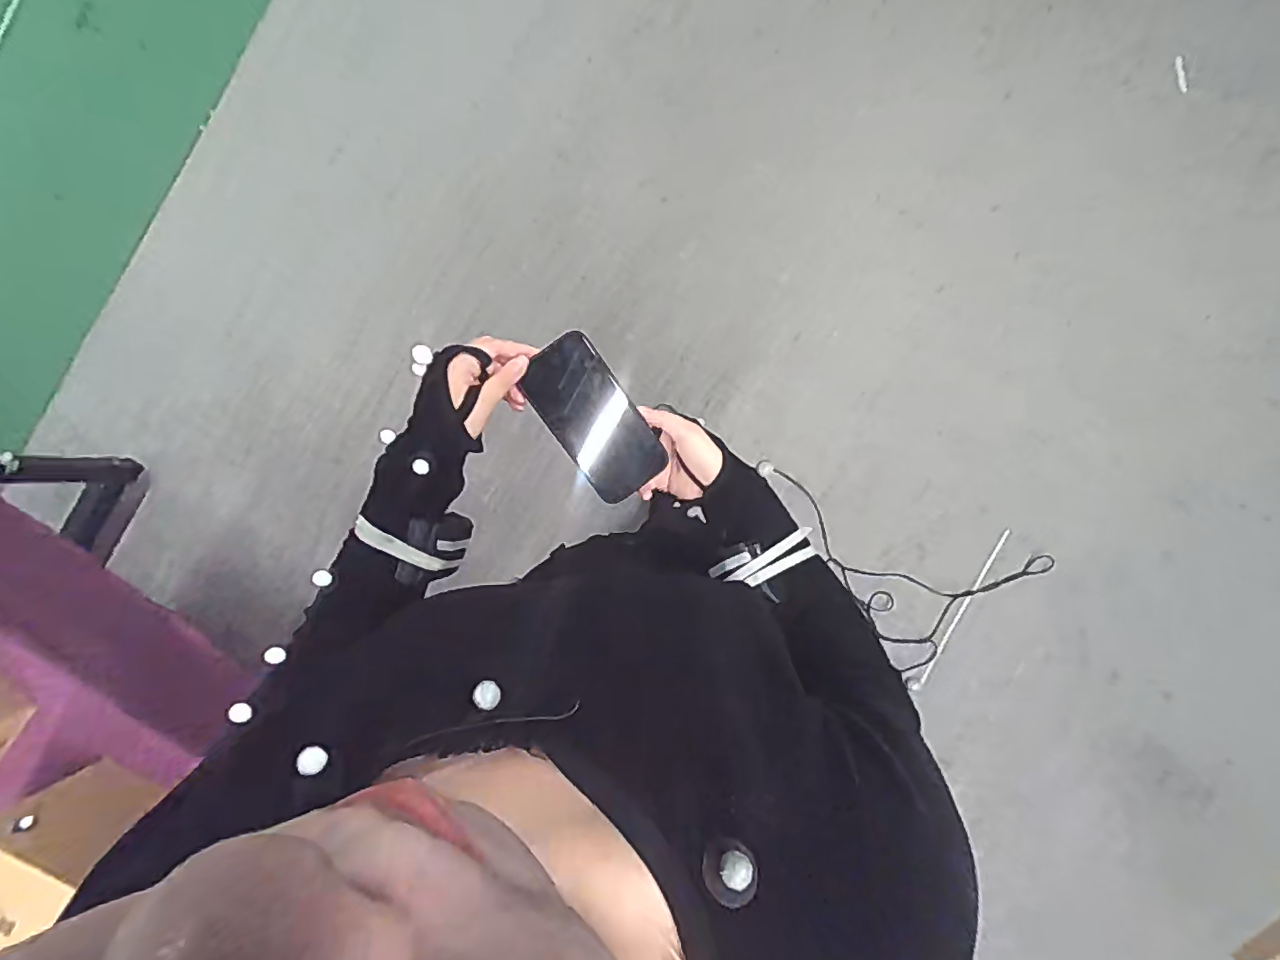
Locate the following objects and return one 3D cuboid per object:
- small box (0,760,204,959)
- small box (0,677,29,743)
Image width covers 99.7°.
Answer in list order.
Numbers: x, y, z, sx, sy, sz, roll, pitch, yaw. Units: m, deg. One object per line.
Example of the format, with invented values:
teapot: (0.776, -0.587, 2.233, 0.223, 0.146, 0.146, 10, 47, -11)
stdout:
small box: (-0.743, 0.512, 0.717, 0.179, 0.176, 0.168, 25, 92, 2)
small box: (-1.004, 0.339, 0.718, 0.179, 0.176, 0.168, 37, 91, 1)
